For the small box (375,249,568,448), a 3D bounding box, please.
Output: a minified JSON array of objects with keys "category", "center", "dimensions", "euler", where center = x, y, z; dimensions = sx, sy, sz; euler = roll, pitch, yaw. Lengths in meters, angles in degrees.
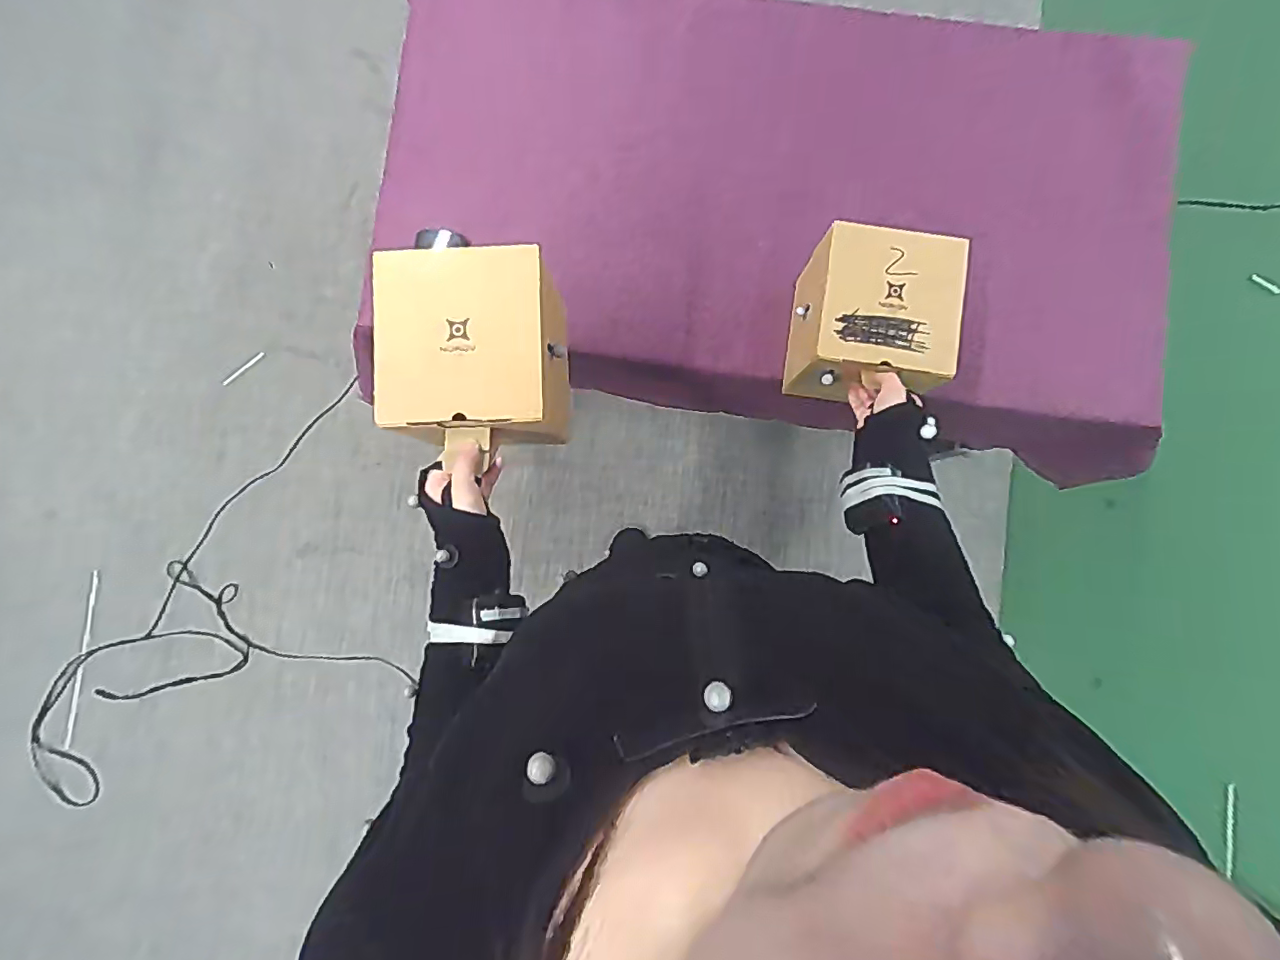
[{"category":"small box","center":[-0.174,-0.133,0.602],"dimensions":[0.168,0.176,0.179],"euler":[-2,87,0]}]
